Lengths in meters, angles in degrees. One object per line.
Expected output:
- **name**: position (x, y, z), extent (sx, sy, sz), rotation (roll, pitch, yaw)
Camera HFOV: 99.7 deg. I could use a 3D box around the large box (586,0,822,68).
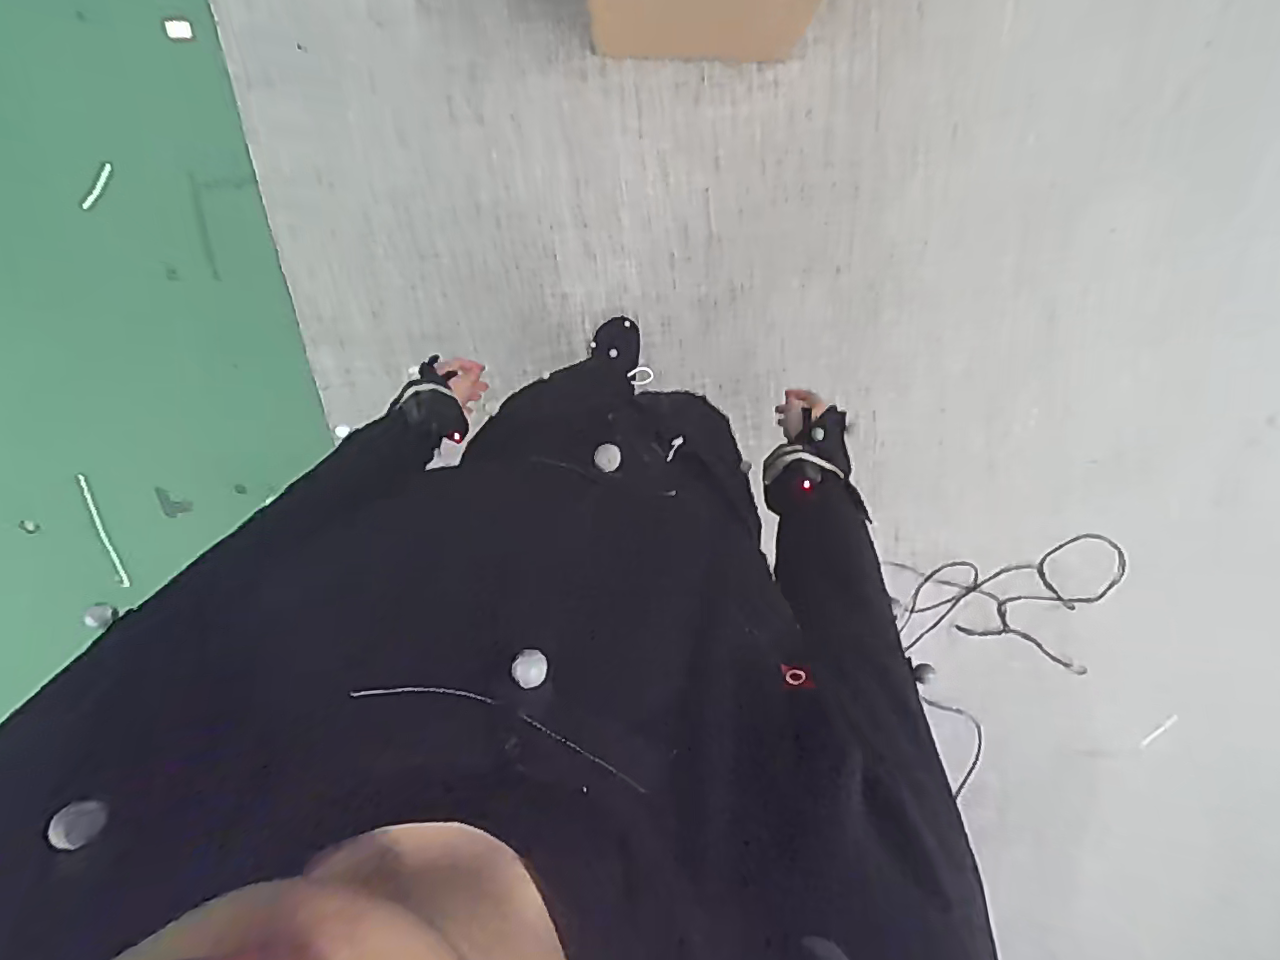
- **large box**: position (0.101, -0.957, 0.931), extent (0.408, 0.320, 0.320), rotation (-1, 108, -3)
